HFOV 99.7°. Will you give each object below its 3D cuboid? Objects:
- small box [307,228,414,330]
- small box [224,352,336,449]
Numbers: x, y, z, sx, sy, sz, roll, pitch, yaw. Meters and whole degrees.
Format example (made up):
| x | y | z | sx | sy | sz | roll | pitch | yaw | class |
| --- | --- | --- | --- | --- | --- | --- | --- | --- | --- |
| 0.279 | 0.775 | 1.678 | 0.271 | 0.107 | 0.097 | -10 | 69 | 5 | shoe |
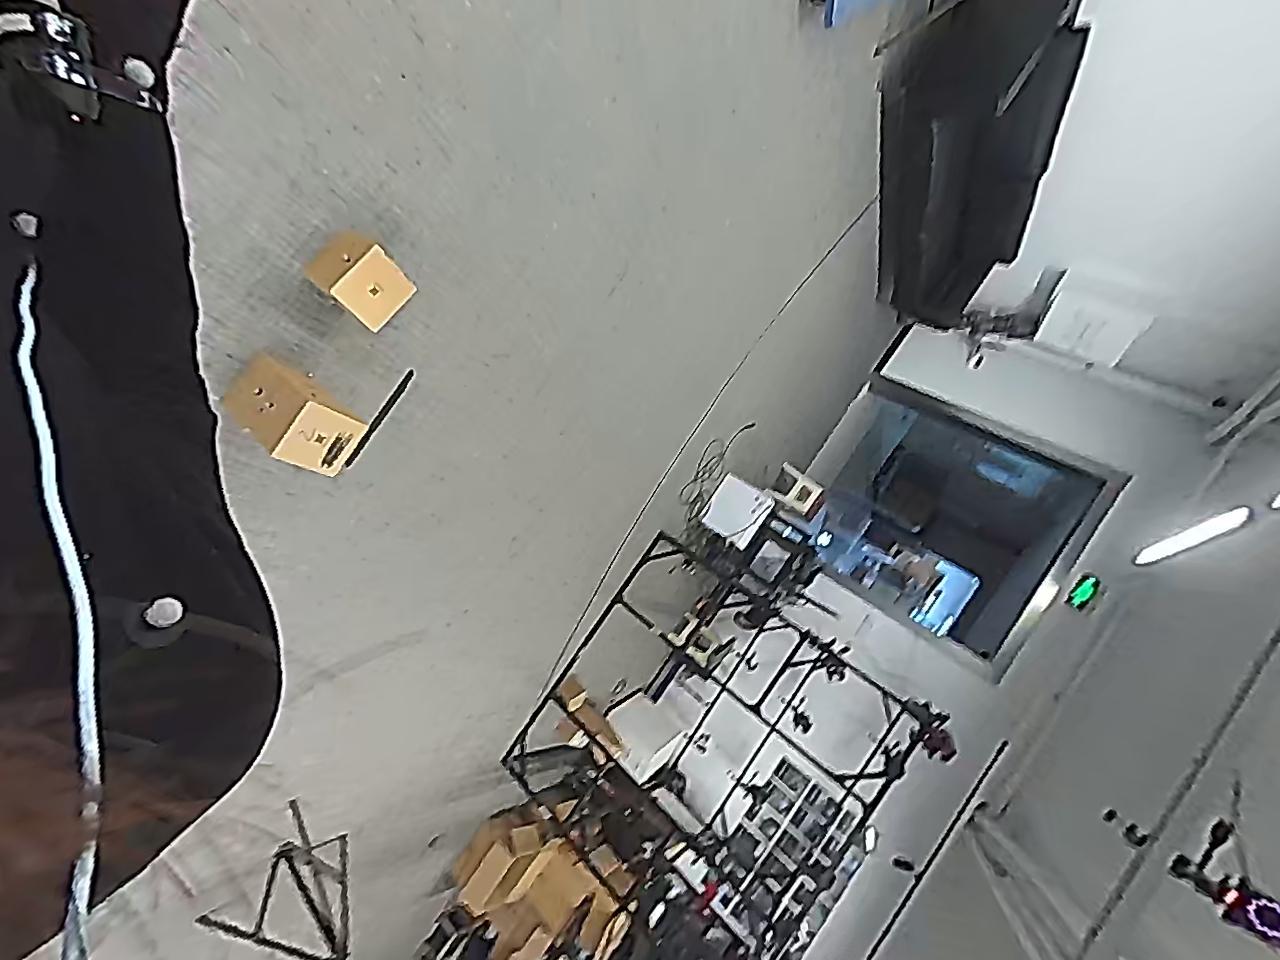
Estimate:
| x | y | z | sx | sy | sz | roll | pitch | yaw | class |
| --- | --- | --- | --- | --- | --- | --- | --- | --- | --- |
| -0.771 | -0.552 | 1.480 | 0.179 | 0.176 | 0.168 | -52 | 151 | -10 | small box |
| -0.987 | -0.220 | 1.479 | 0.179 | 0.176 | 0.168 | -55 | 151 | -1 | small box |
